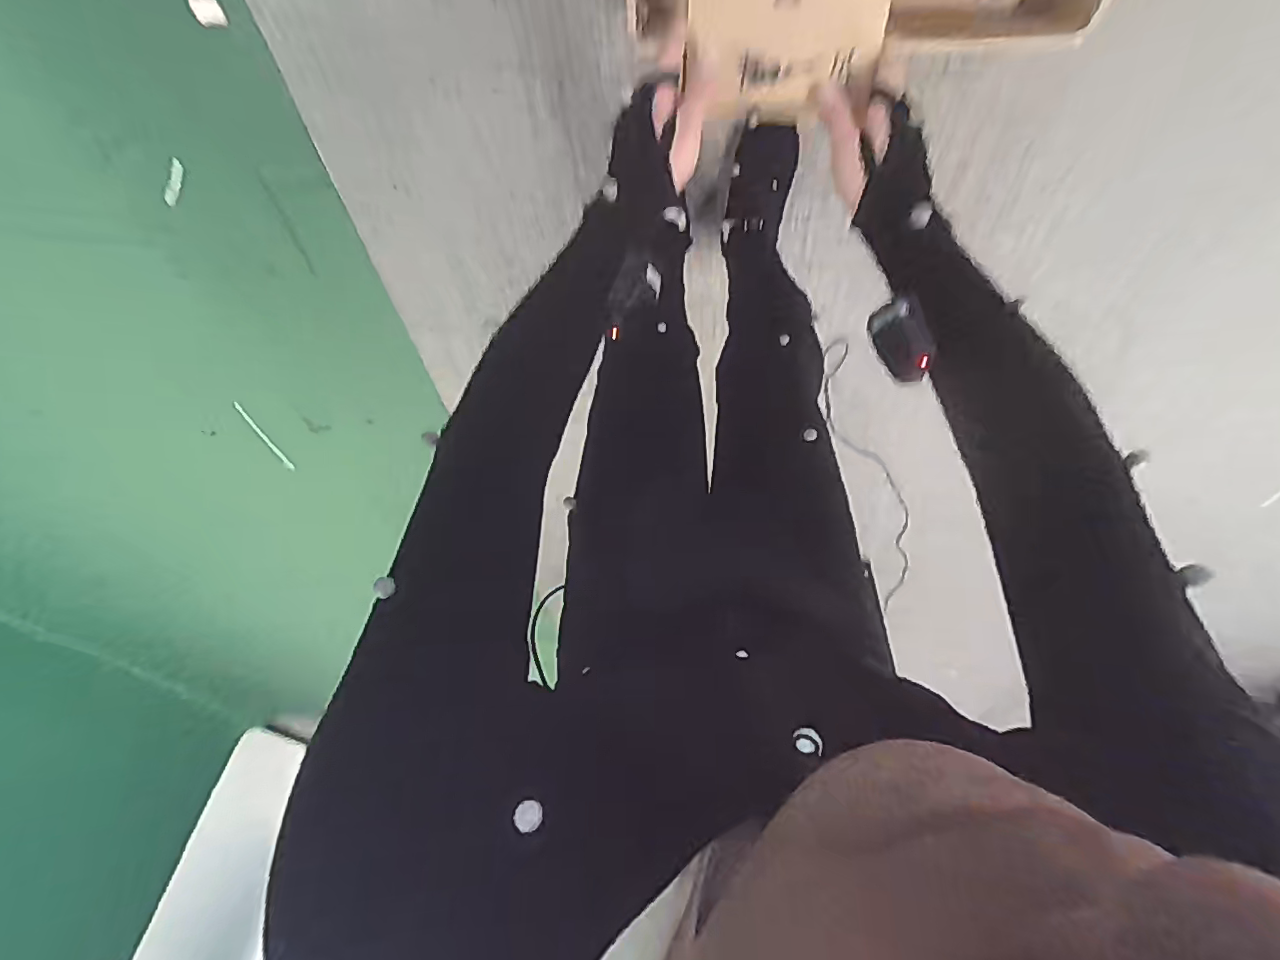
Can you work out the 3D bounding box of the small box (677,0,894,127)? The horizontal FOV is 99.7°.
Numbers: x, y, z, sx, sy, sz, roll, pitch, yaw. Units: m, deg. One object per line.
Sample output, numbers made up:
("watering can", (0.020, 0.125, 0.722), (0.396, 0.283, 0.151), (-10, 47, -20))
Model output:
("small box", (0.121, -0.434, 0.492), (0.168, 0.176, 0.179), (1, 119, 1))
